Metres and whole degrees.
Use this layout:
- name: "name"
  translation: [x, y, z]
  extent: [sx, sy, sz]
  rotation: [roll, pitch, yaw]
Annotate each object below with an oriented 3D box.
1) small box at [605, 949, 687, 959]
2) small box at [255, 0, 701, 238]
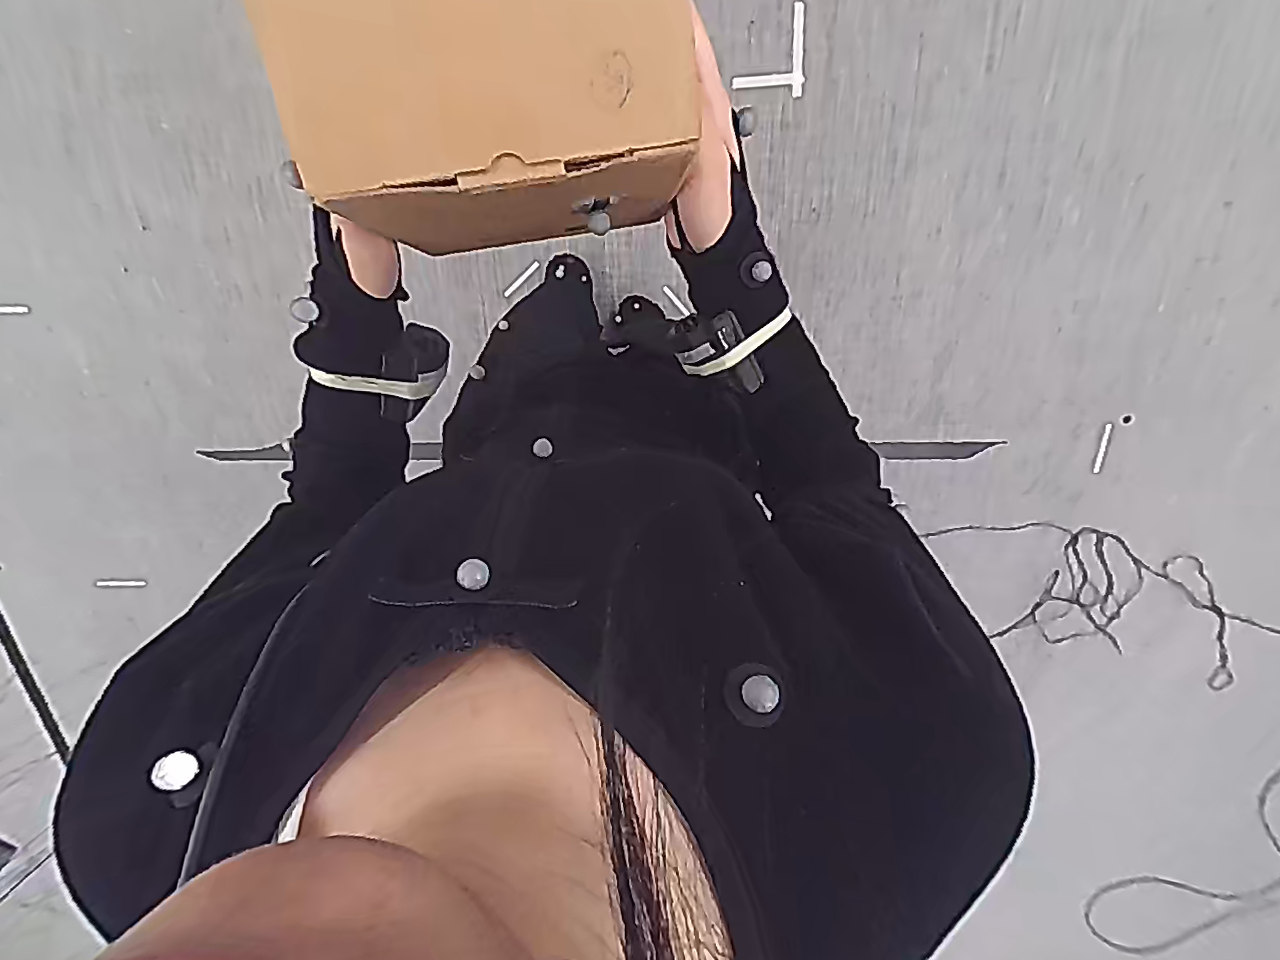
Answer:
- name: "small box"
  translation: [0.013, 1.034, 1.025]
  extent: [0.168, 0.176, 0.179]
  rotation: [0, 110, 0]
- name: "small box"
  translation: [-0.072, -0.232, 0.274]
  extent: [0.168, 0.176, 0.179]
  rotation: [-10, 106, -3]
